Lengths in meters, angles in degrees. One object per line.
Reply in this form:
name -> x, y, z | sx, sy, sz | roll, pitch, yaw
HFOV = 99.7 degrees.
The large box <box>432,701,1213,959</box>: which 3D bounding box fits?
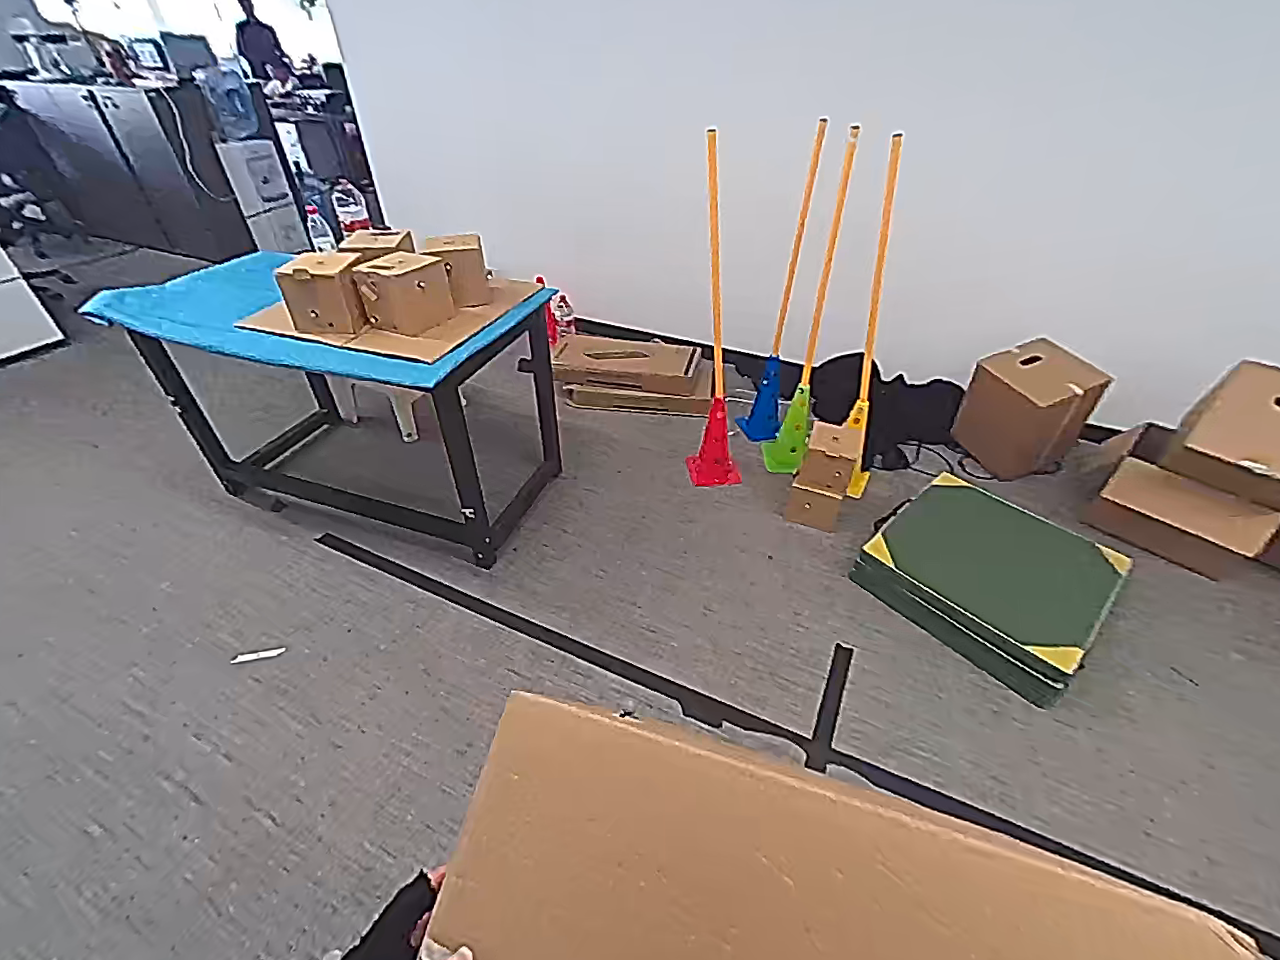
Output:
large box -> 0.090, 0.388, 0.406 | 0.408, 0.320, 0.320 | 10, 68, 19
